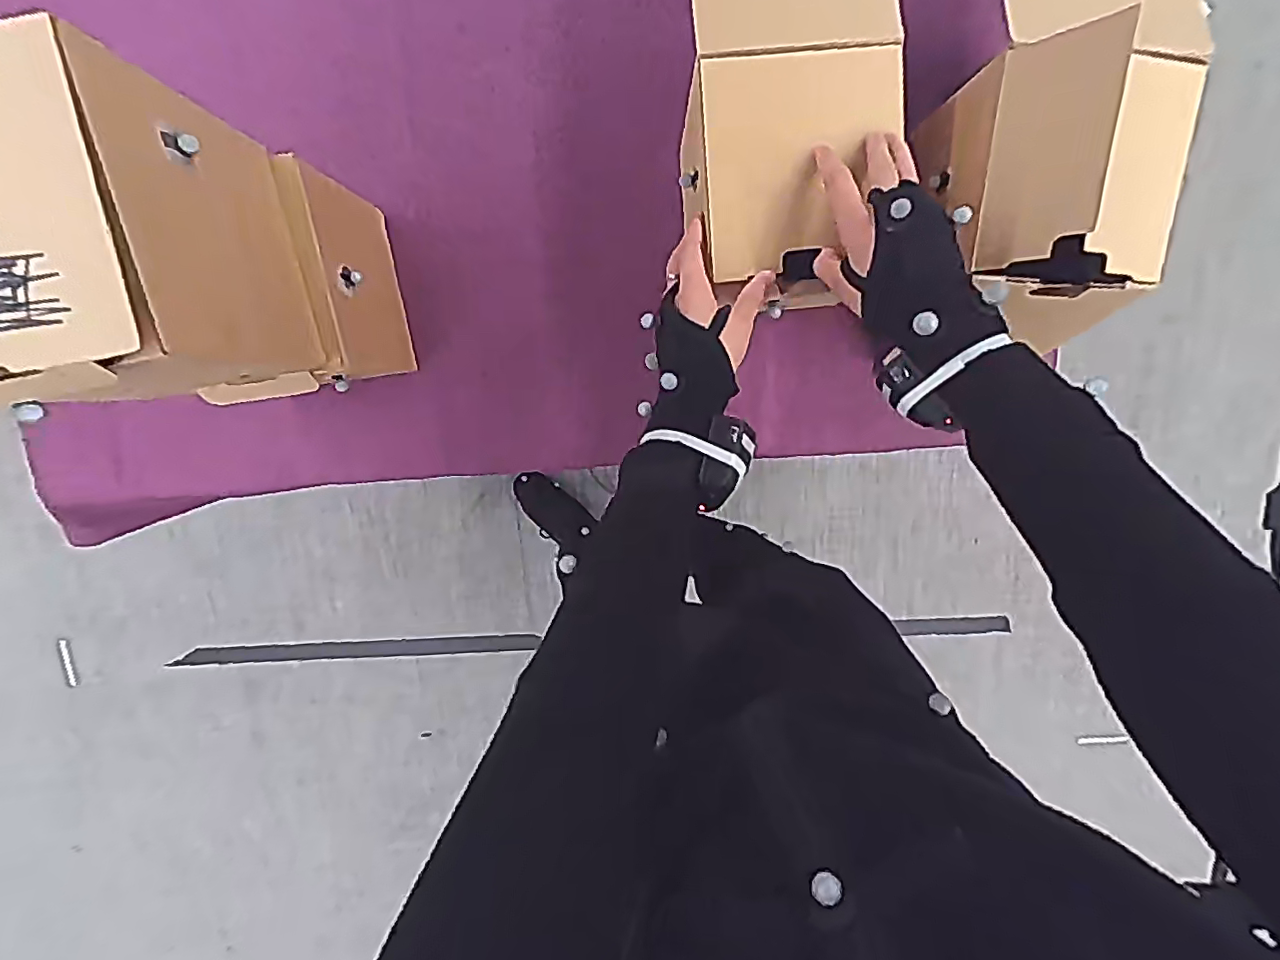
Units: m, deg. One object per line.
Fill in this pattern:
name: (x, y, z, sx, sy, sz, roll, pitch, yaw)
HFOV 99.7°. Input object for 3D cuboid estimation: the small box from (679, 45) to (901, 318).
small box: (0.128, -0.263, 0.516, 0.168, 0.176, 0.179, -4, 98, 1)

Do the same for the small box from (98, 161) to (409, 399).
small box: (-0.350, -0.181, 0.534, 0.168, 0.176, 0.179, -8, 101, 0)
